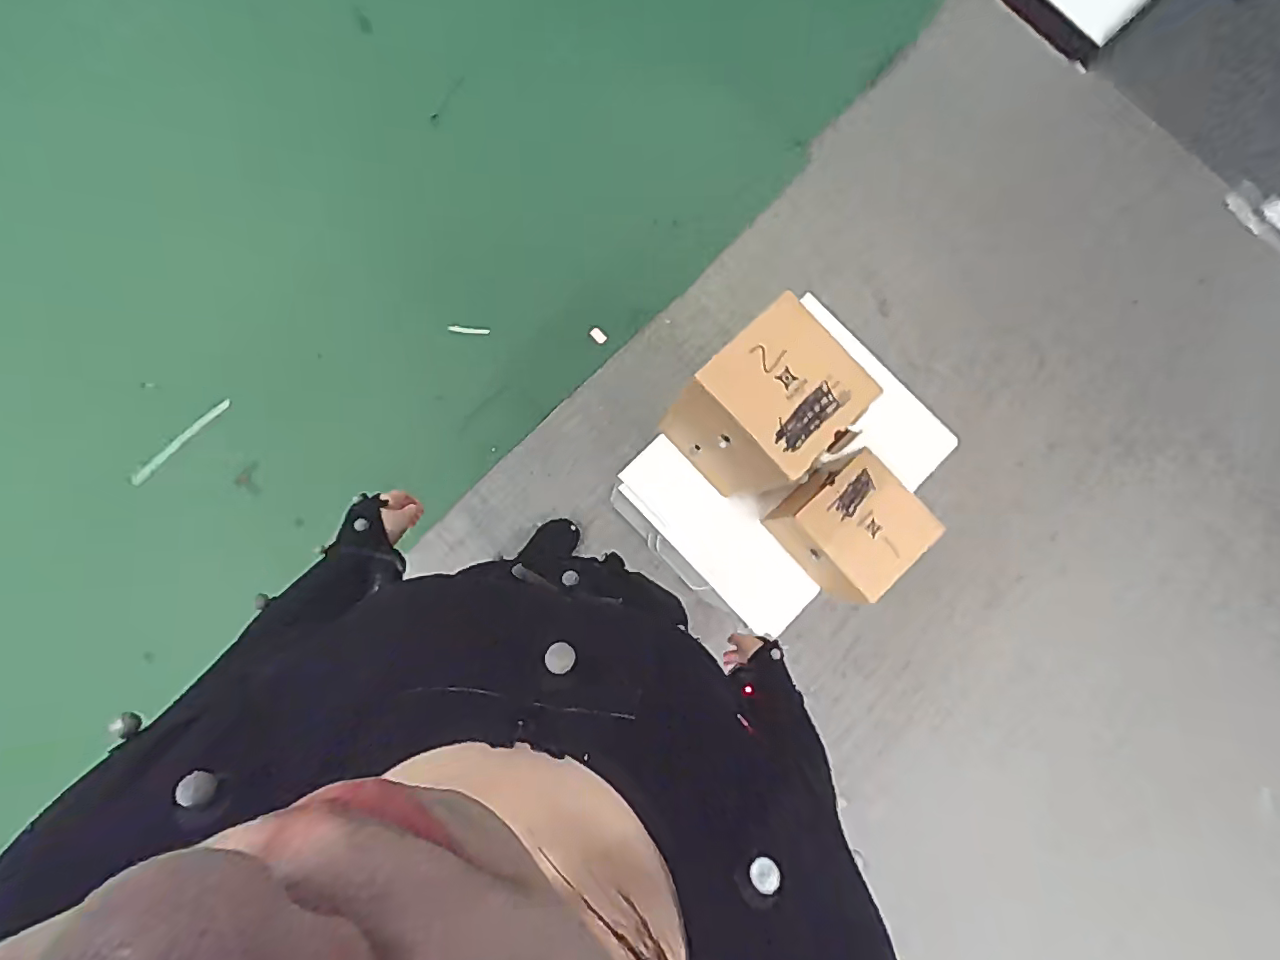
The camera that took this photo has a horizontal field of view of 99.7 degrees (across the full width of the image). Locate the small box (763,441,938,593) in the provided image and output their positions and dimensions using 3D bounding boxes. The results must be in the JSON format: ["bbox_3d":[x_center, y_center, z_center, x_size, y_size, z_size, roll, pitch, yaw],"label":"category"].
[{"bbox_3d":[0.333,0.065,0.894,0.168,0.176,0.179,-41,88,-8],"label":"small box"}]

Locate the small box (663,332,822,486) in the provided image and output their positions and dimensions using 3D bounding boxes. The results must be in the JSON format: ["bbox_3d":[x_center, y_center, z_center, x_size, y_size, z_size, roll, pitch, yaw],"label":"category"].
[{"bbox_3d":[0.157,-0.104,0.897,0.168,0.176,0.179,-43,90,-7],"label":"small box"}]
